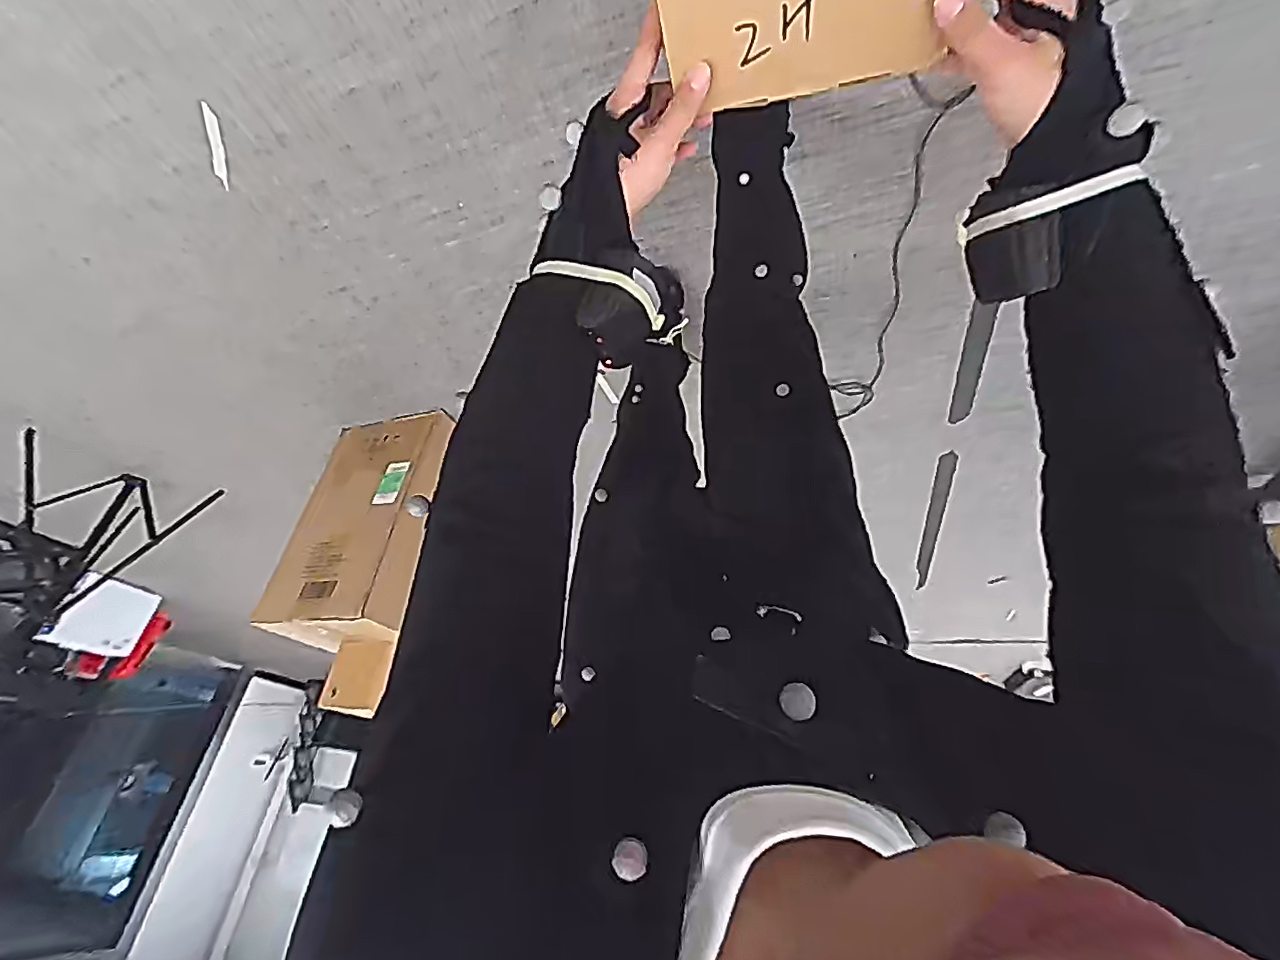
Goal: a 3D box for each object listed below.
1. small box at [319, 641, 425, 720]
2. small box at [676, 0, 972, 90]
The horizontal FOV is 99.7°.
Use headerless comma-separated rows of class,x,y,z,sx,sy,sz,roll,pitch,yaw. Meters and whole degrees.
small box,-0.694,0.530,1.430,0.179,0.176,0.168,-5,147,19
small box,0.099,-0.369,0.298,0.168,0.176,0.179,-1,153,15
